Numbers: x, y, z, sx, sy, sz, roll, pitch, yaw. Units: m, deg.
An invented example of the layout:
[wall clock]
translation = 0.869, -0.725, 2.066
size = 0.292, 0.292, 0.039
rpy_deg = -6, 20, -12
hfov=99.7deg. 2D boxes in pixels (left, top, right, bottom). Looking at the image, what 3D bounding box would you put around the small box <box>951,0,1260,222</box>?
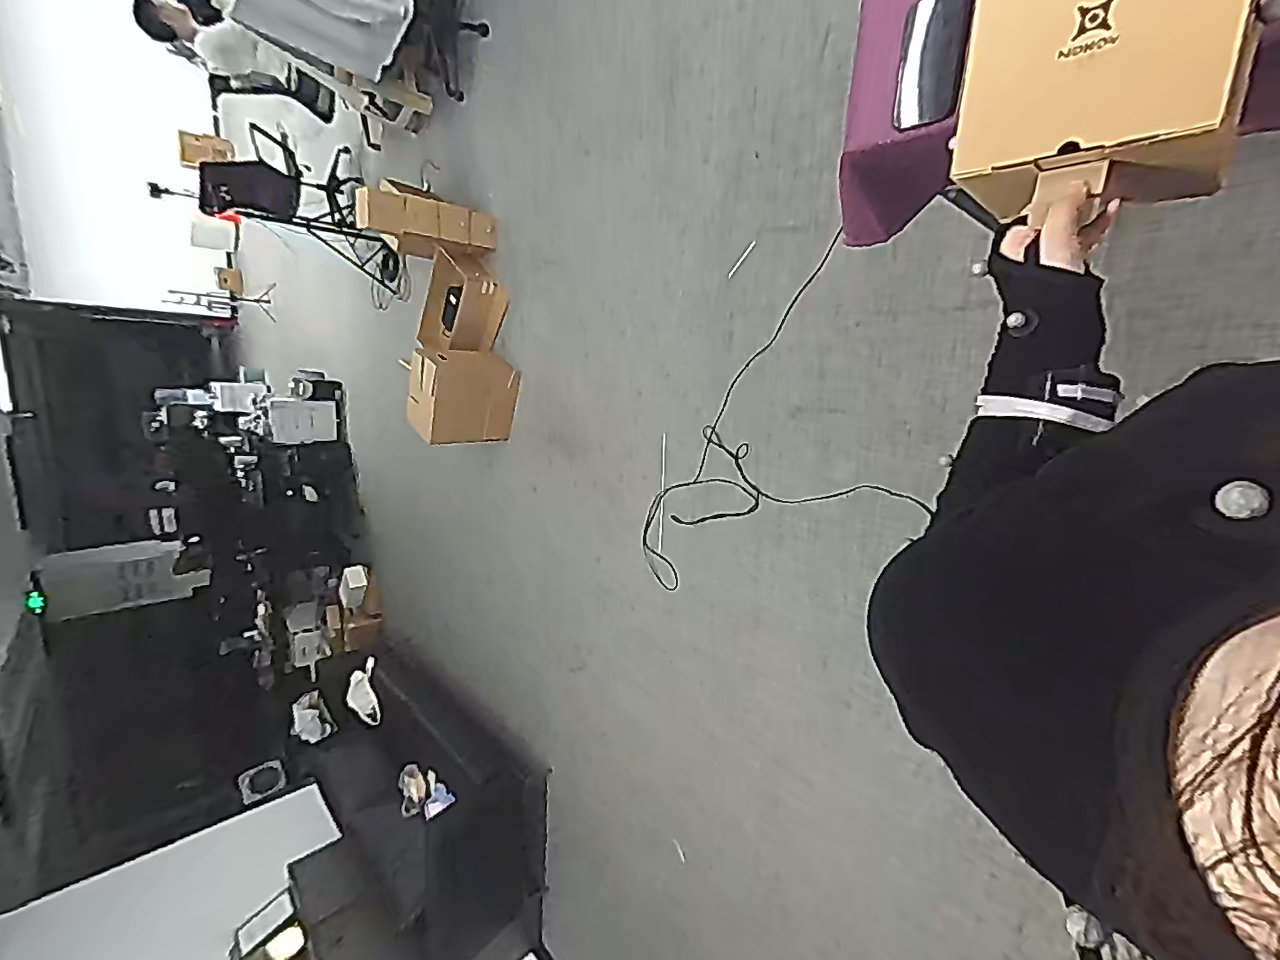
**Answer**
[small box]
translation = 0.389, -0.338, 0.455
size = 0.168, 0.176, 0.179
rpy_deg = 15, 107, 43
